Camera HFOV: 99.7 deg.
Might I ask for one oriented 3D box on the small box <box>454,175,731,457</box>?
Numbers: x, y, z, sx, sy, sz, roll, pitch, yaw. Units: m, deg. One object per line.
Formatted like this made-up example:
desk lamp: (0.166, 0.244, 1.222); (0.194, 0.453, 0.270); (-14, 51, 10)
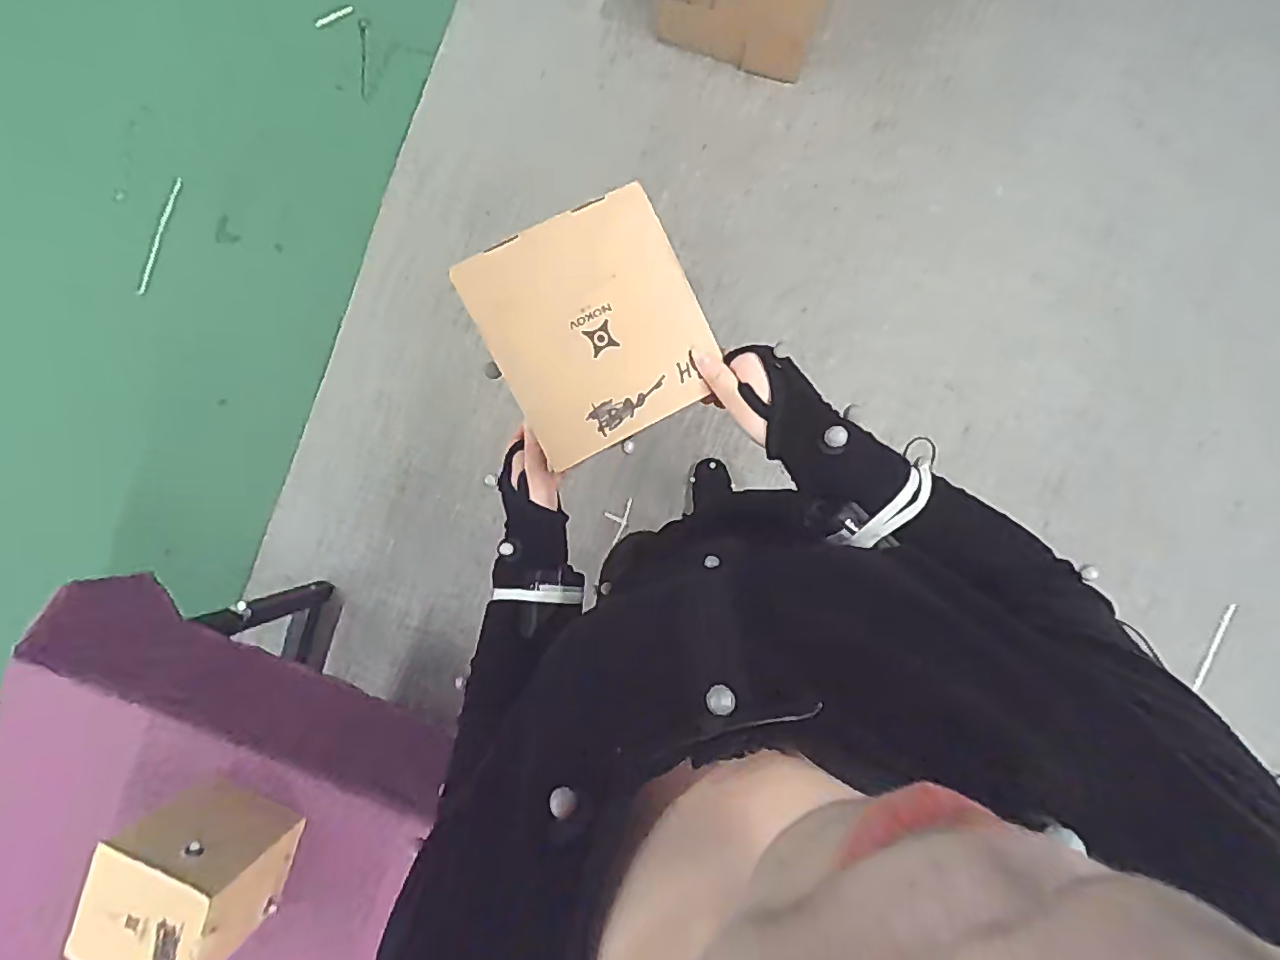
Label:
small box: (-0.045, -0.132, 0.500); (0.168, 0.176, 0.179); (-27, 98, -6)

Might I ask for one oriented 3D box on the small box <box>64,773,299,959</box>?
small box: (-0.639, 0.561, 0.775); (0.179, 0.176, 0.168); (20, 93, 6)
